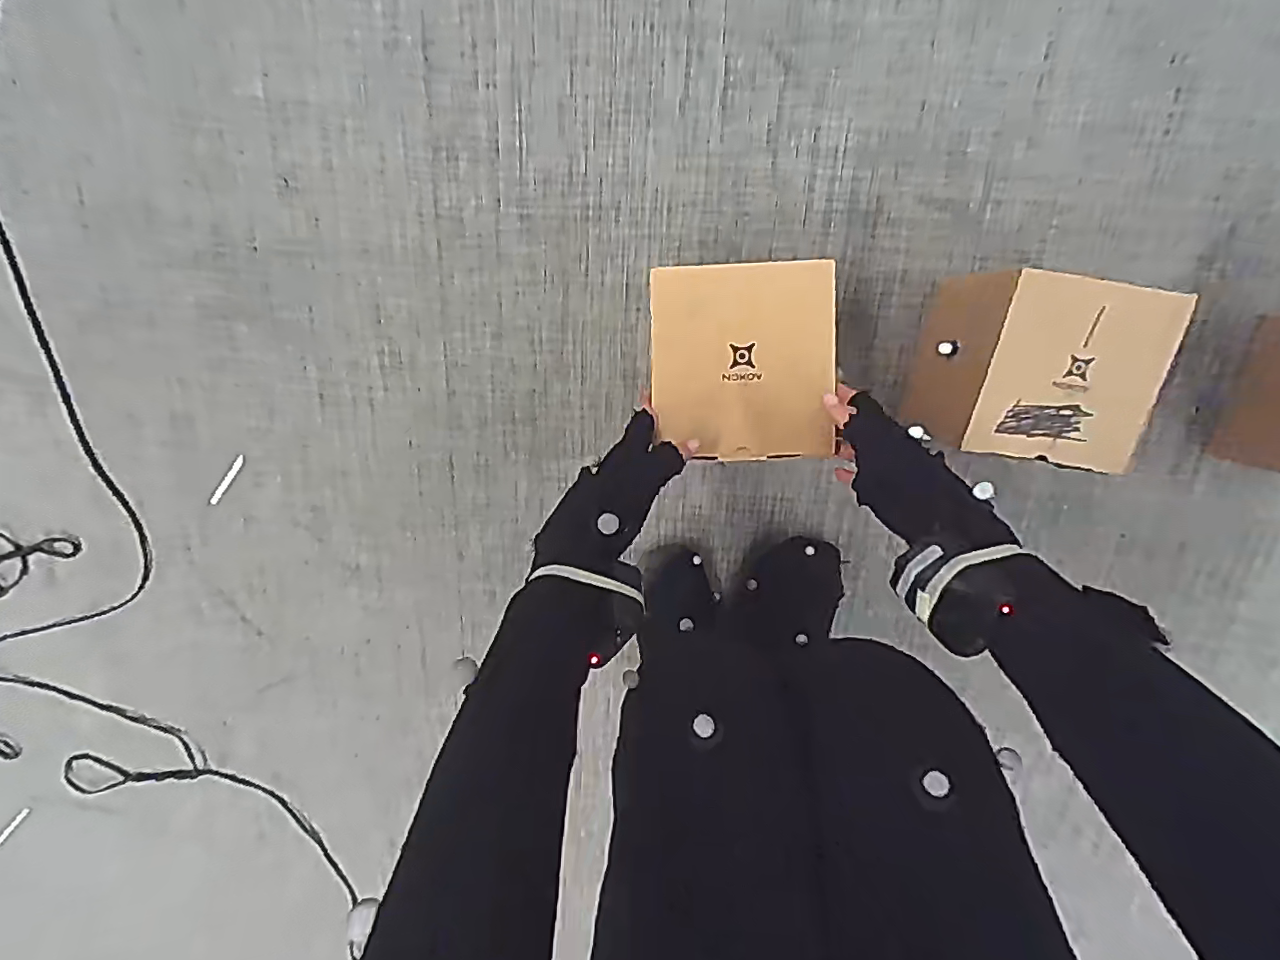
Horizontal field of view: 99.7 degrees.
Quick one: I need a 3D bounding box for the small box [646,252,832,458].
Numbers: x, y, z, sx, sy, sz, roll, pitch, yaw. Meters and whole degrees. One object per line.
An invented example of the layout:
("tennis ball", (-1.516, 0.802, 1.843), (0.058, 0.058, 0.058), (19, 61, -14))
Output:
("small box", (0.091, -0.113, 0.556), (0.168, 0.176, 0.179), (-1, 92, 4))
